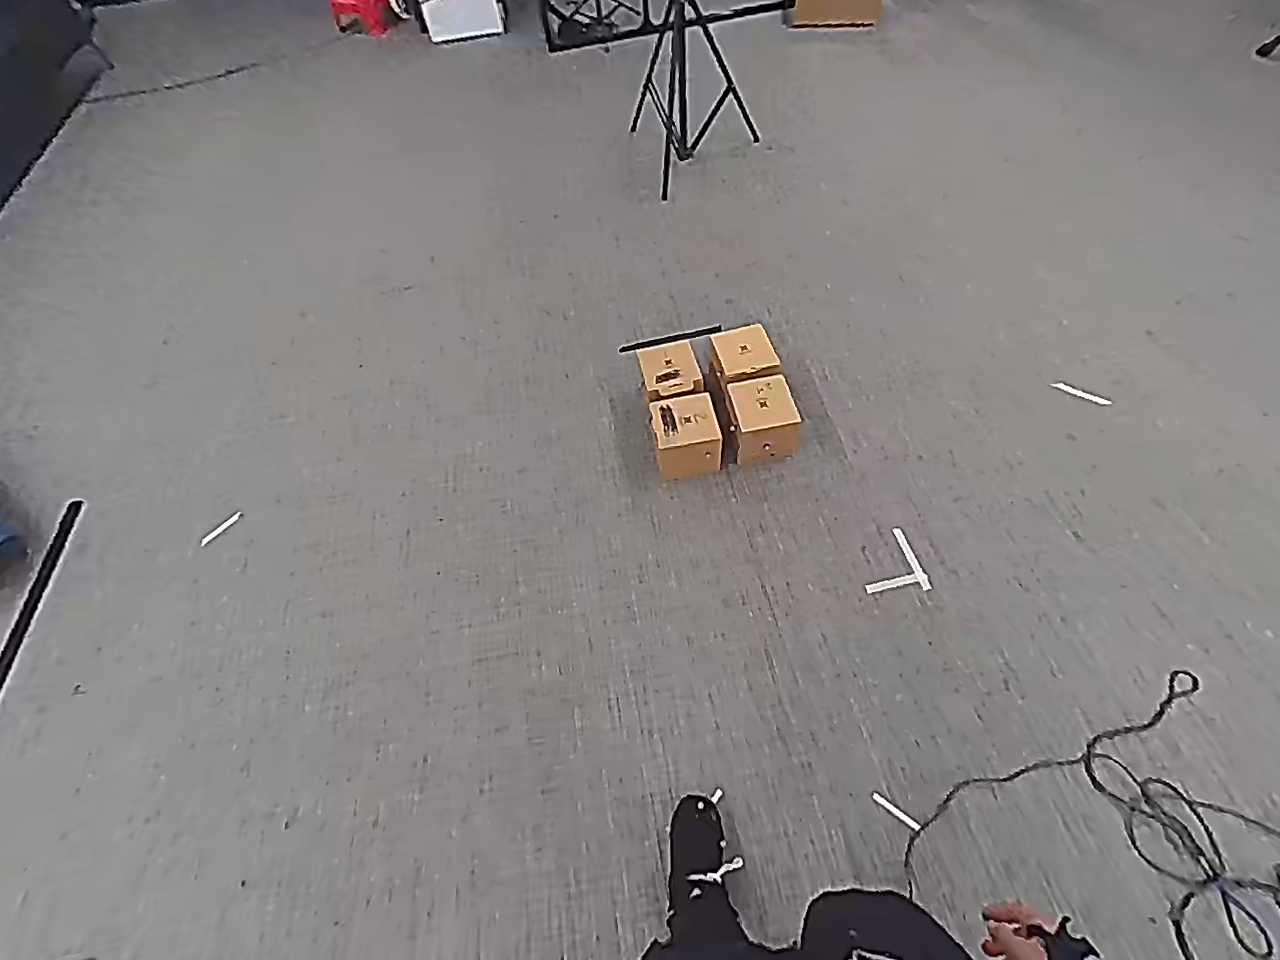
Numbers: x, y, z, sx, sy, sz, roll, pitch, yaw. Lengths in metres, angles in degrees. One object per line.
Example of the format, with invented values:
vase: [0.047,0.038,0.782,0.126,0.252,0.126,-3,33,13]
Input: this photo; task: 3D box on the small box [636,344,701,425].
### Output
small box: [0.091,-0.286,1.664,0.168,0.176,0.179,-12,56,-2]
